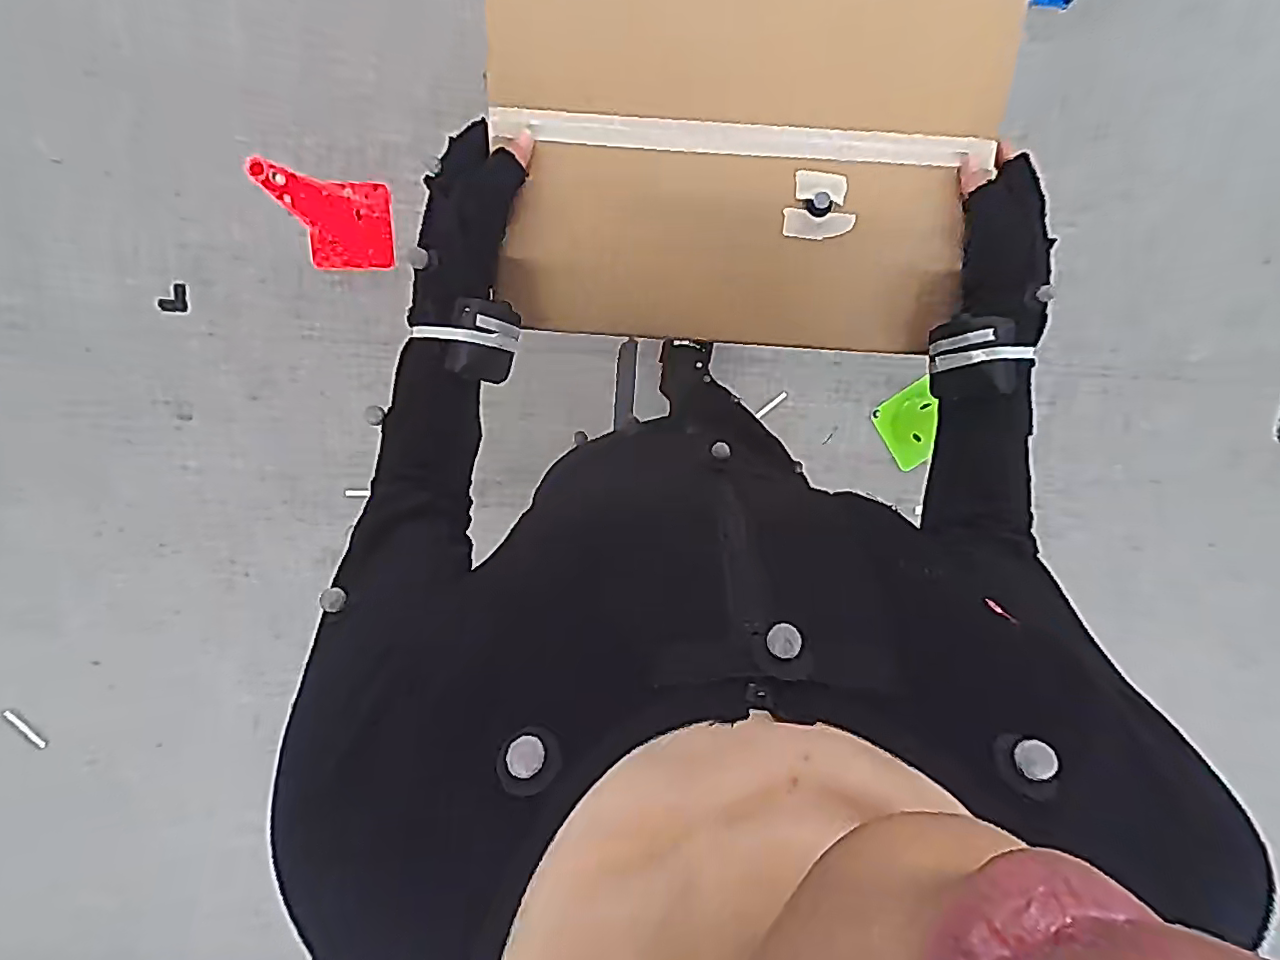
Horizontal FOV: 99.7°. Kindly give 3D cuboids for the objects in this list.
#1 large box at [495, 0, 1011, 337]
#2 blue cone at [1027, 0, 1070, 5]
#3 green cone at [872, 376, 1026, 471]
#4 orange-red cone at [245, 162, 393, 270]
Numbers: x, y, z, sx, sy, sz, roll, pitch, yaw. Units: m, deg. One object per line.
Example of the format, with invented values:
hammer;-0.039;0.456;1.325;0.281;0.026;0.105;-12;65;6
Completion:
large box;0.080;-0.325;0.583;0.408;0.320;0.320;3;107;-1
blue cone;0.971;-1.225;1.132;0.192;0.380;0.193;6;99;-5
green cone;0.760;-0.124;1.289;0.202;0.368;0.200;-35;100;2
orange-red cone;-0.700;-0.585;1.149;0.198;0.360;0.199;0;101;-2
